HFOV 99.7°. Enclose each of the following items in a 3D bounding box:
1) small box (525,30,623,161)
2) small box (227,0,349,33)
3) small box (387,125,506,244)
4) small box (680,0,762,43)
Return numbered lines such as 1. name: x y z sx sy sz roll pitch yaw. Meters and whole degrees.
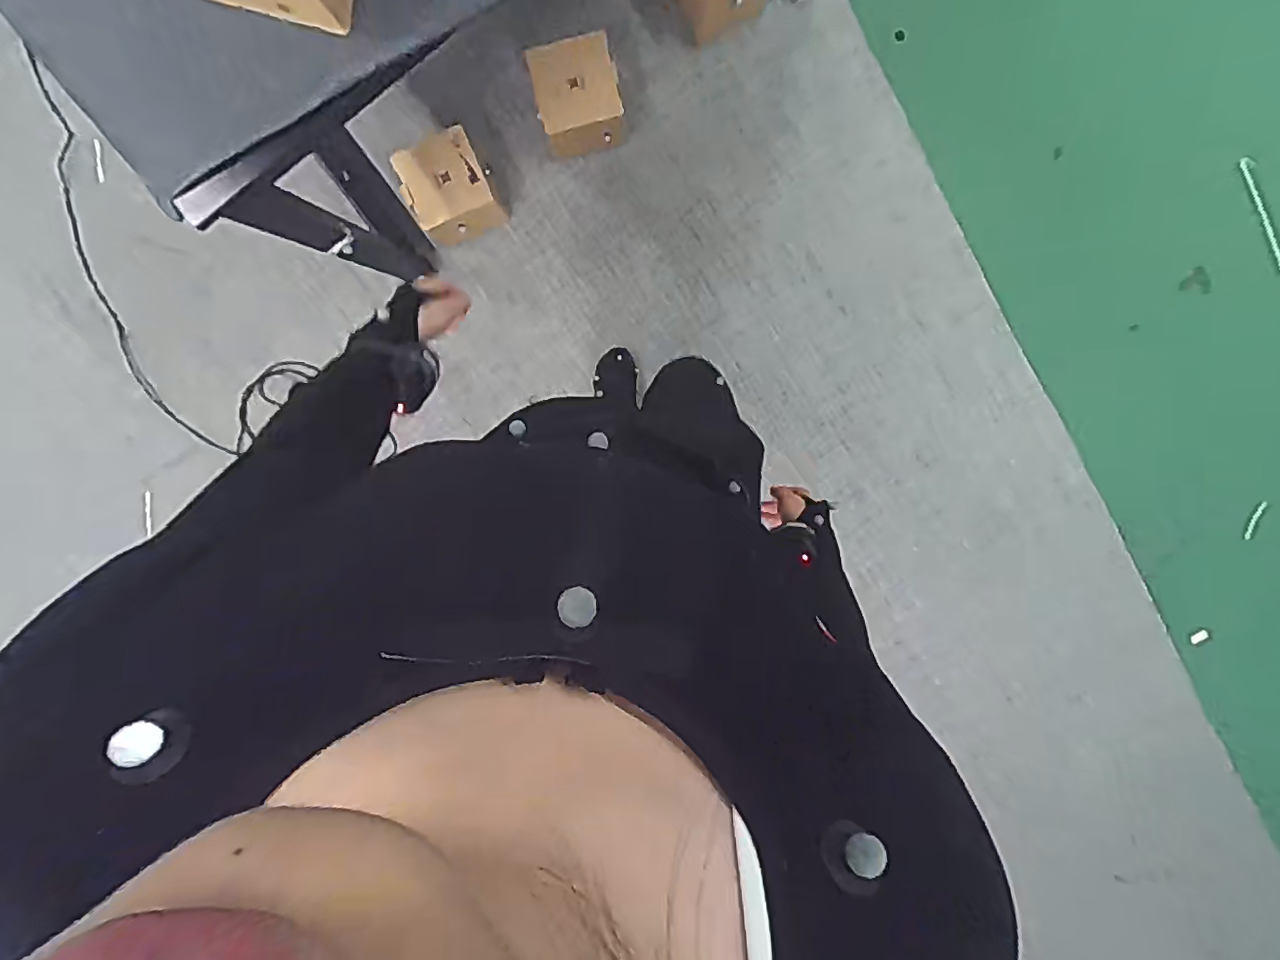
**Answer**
1. small box: -0.139 -0.846 1.209 0.179 0.176 0.168 -14 102 3
2. small box: -0.391 -0.584 0.516 0.168 0.176 0.179 13 102 -4
3. small box: -0.433 -0.665 1.242 0.179 0.176 0.168 -22 102 4
4. small box: 0.174 -1.100 1.159 0.179 0.176 0.168 -29 102 4
